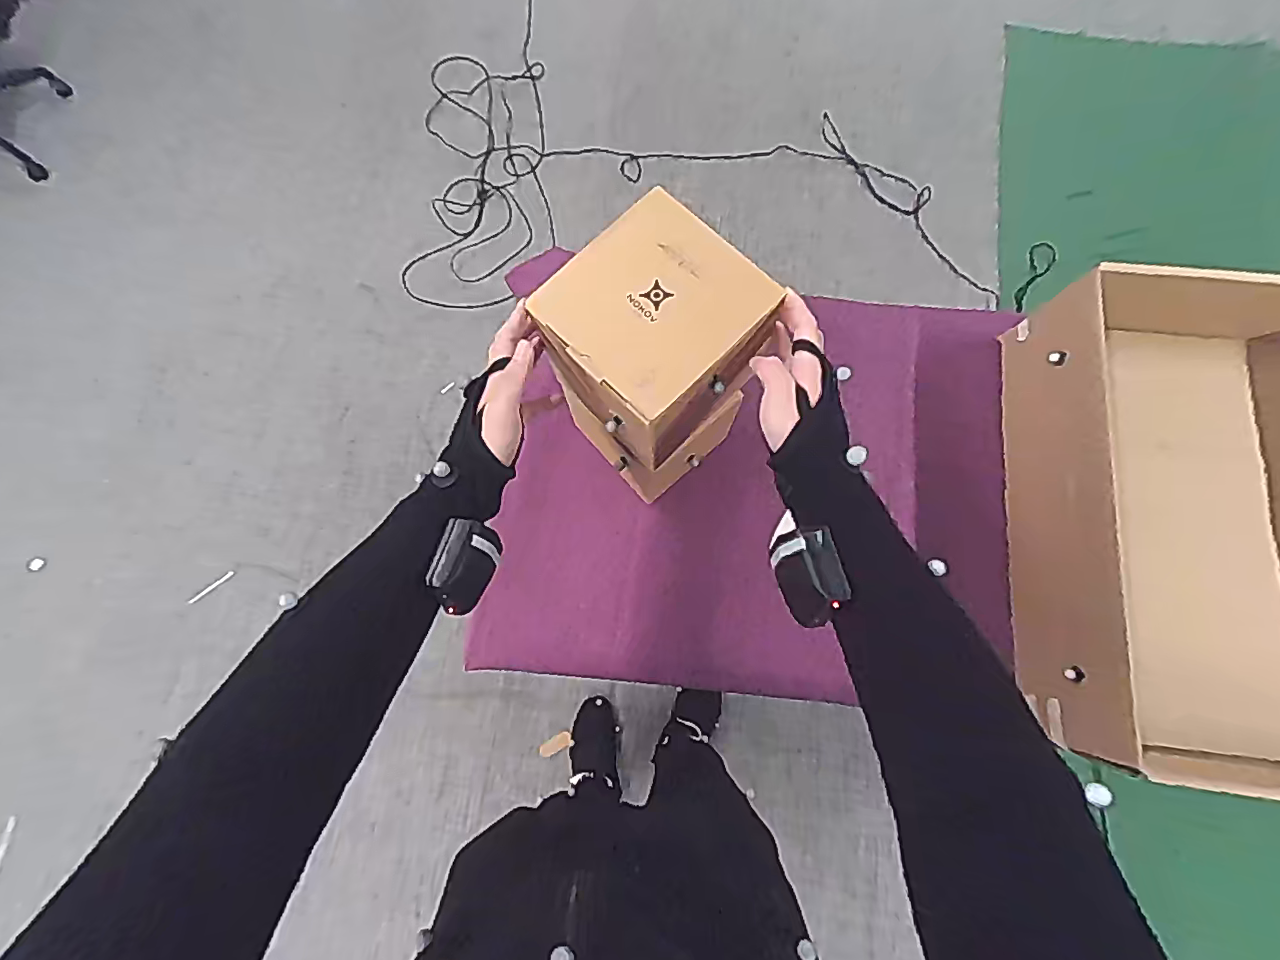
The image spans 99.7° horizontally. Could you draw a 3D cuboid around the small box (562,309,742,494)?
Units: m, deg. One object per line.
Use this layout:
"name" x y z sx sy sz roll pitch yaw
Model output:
"small box" 0.016 -0.096 0.767 0.168 0.176 0.179 -40 79 -10
